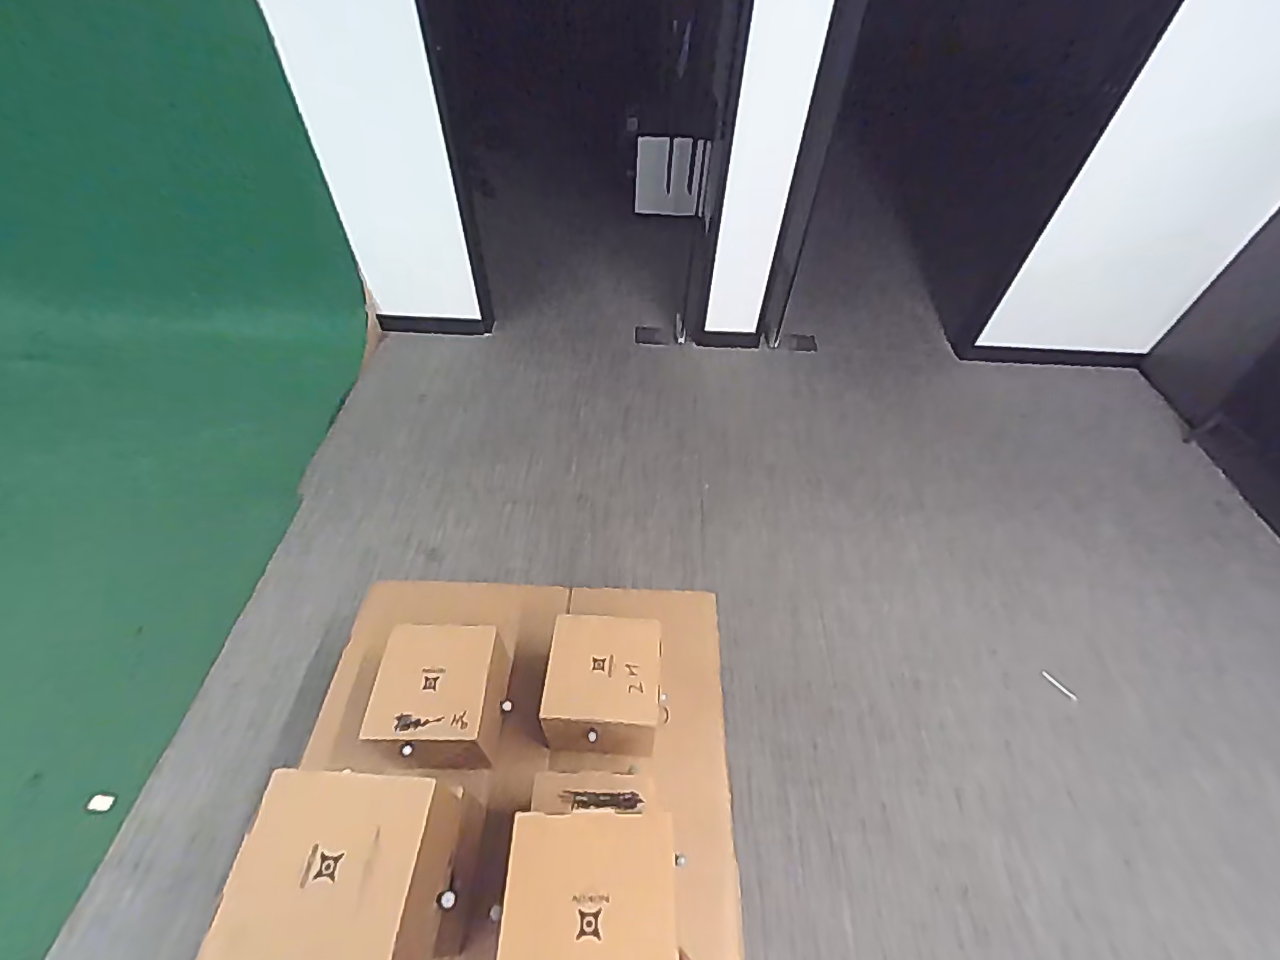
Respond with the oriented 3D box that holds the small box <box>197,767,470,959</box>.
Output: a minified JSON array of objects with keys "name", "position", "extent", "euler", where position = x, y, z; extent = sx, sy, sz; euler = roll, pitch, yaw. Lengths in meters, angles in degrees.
[{"name":"small box","position":[-0.306,0.427,0.589],"extent":[0.179,0.176,0.168],"euler":[4,51,1]}]

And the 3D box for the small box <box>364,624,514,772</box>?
[{"name":"small box","position":[-0.306,0.350,0.867],"extent":[0.168,0.176,0.179],"euler":[0,48,0]}]

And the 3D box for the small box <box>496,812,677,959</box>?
[{"name":"small box","position":[-0.046,0.464,0.560],"extent":[0.168,0.176,0.179],"euler":[-1,45,0]}]
